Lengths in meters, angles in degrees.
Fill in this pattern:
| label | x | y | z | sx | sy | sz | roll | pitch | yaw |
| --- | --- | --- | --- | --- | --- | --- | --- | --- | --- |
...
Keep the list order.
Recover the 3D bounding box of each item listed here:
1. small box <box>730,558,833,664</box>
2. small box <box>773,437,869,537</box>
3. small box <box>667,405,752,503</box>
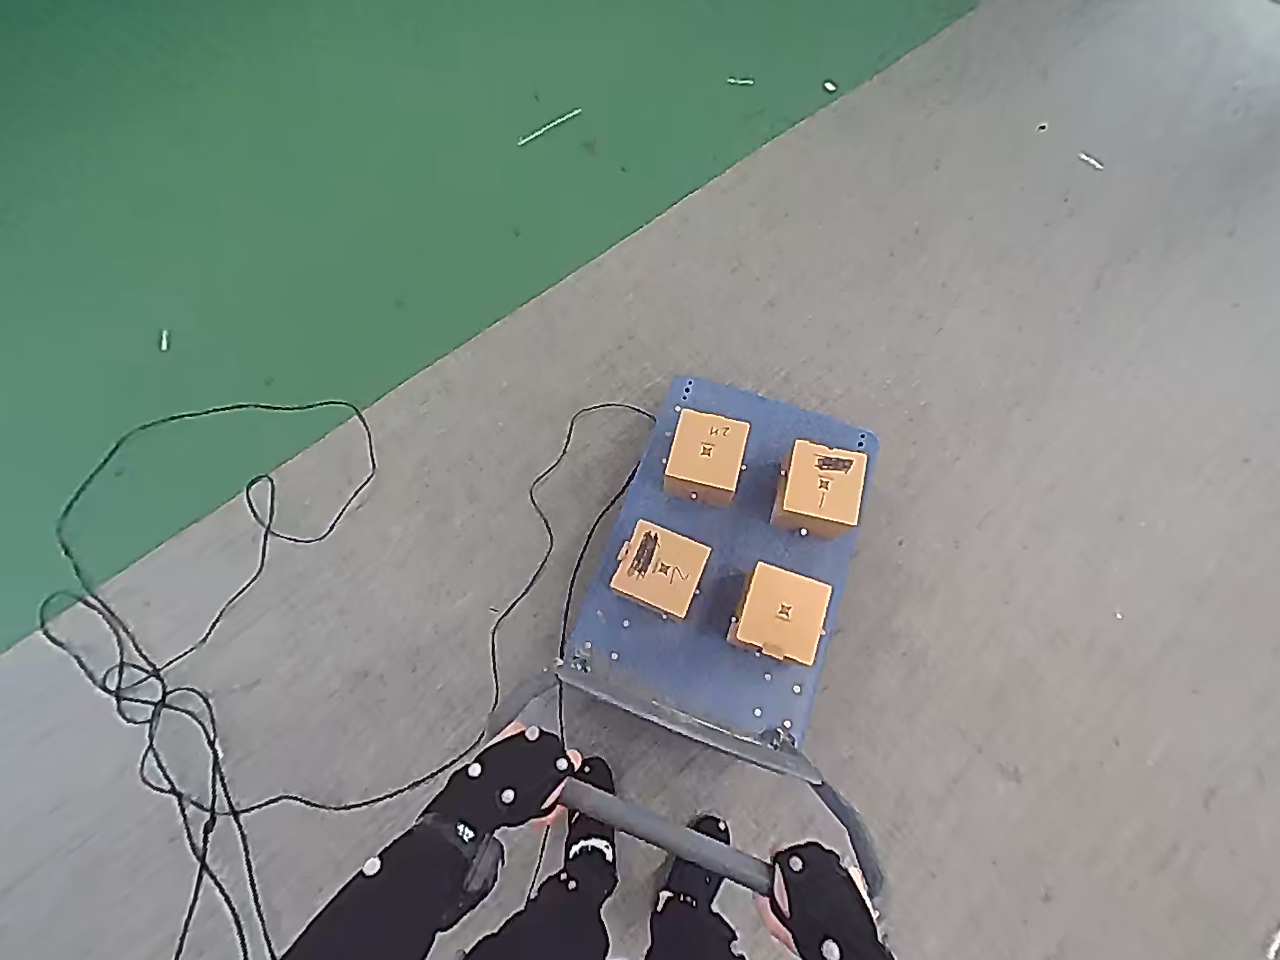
| label | x | y | z | sx | sy | sz | roll | pitch | yaw |
| --- | --- | --- | --- | --- | --- | --- | --- | --- | --- |
| small box | 0.310 | 0.296 | 1.213 | 0.168 | 0.176 | 0.179 | 19 | 75 | 8 |
| small box | 0.426 | 0.022 | 1.292 | 0.168 | 0.176 | 0.179 | 14 | 74 | 7 |
| small box | 0.166 | -0.056 | 1.326 | 0.168 | 0.176 | 0.179 | 15 | 74 | 6 |
